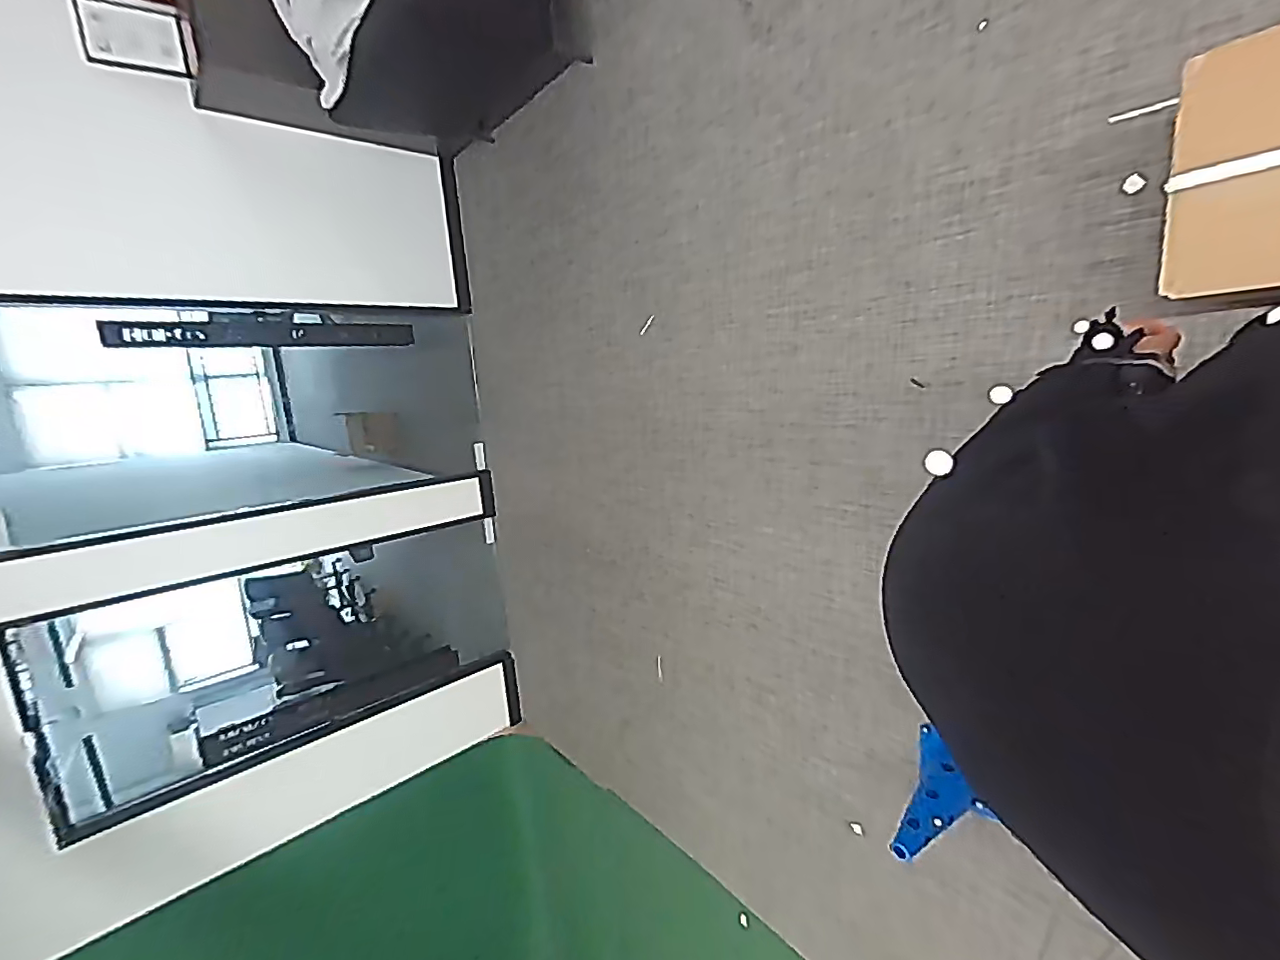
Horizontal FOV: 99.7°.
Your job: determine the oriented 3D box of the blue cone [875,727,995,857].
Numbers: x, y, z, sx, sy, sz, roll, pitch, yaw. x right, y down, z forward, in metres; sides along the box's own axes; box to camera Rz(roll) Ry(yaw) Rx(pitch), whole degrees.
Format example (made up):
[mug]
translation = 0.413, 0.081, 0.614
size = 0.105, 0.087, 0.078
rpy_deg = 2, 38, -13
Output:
[blue cone]
translation = 0.683, 0.782, 1.296
size = 0.192, 0.380, 0.193
rpy_deg = 10, 107, 49
